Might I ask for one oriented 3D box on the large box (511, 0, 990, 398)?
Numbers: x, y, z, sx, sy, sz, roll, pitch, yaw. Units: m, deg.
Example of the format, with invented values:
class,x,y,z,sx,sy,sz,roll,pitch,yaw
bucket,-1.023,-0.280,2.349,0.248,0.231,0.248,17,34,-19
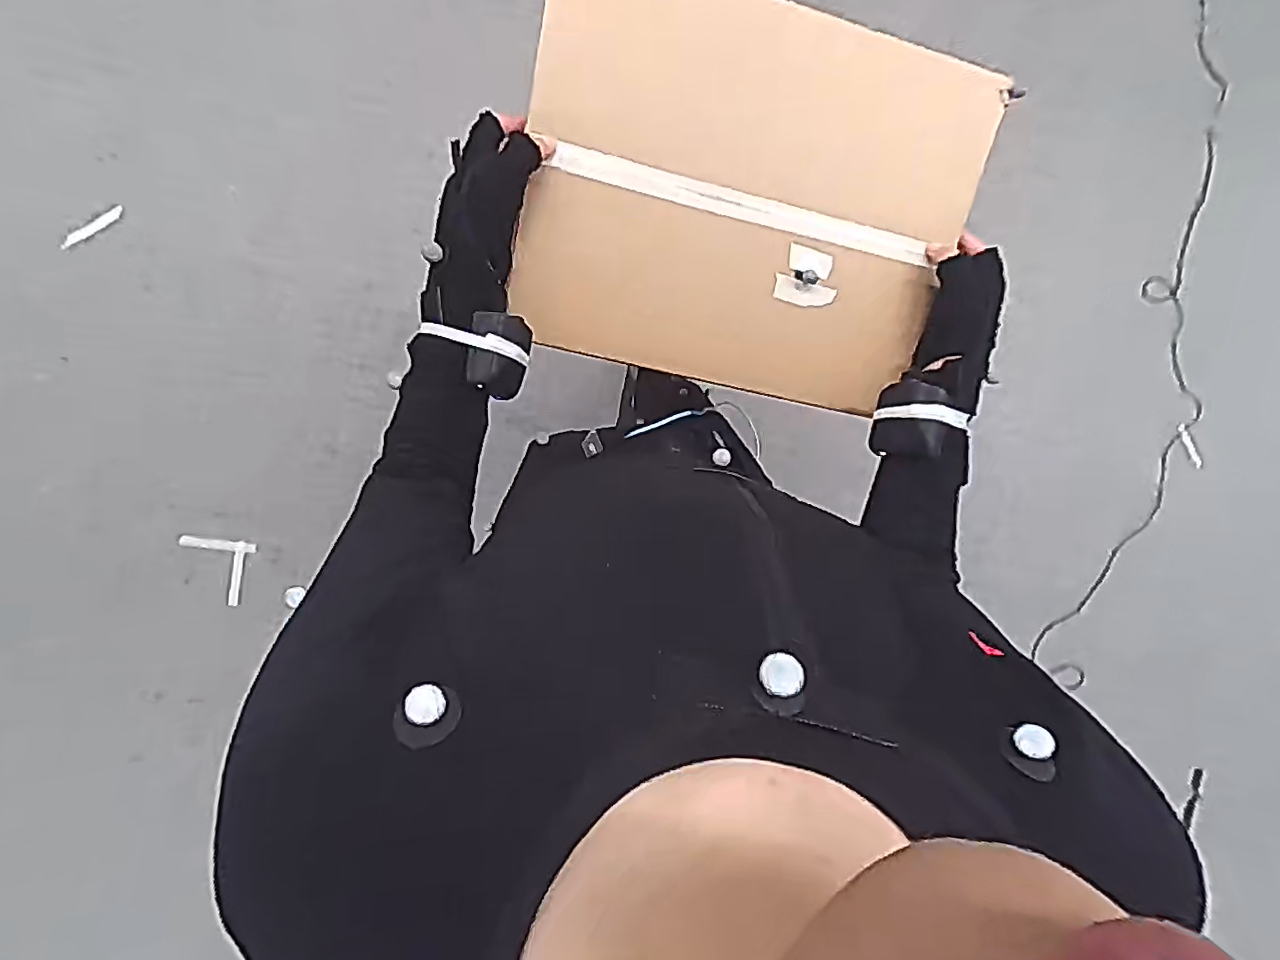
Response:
class,x,y,z,sx,sy,sz,roll,pitch,yaw
large box,0.080,-0.301,0.641,0.408,0.320,0.320,10,106,-10
